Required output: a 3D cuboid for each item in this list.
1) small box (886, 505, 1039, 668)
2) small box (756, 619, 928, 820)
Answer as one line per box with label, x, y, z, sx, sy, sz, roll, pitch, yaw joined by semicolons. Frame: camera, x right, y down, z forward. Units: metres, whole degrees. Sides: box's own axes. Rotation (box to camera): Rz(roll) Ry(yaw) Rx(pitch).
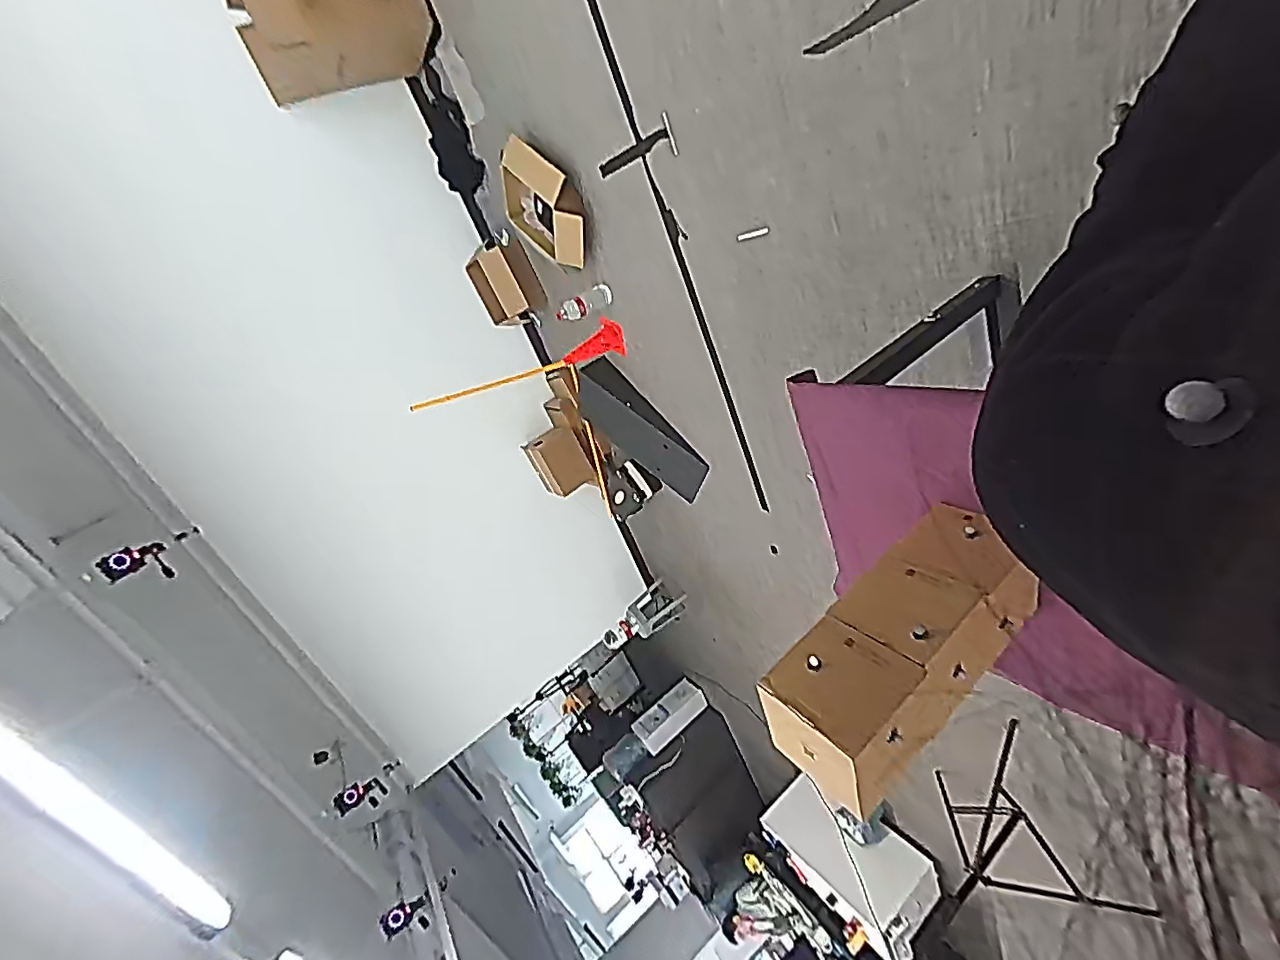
small box;0.551;0.174;0.926;0.168;0.176;0.179;24;142;51
small box;0.301;0.341;0.798;0.168;0.176;0.179;28;146;51
